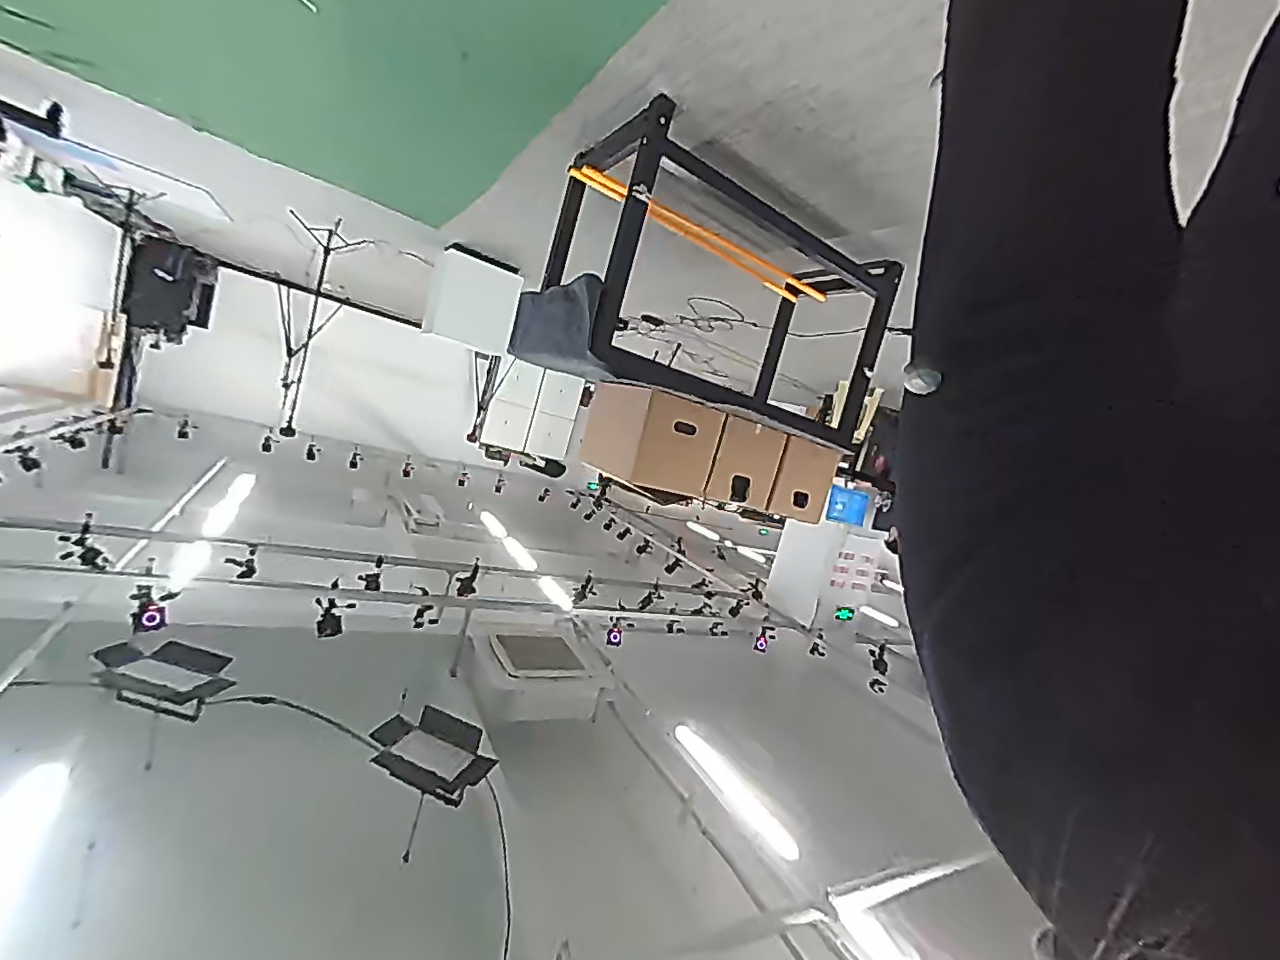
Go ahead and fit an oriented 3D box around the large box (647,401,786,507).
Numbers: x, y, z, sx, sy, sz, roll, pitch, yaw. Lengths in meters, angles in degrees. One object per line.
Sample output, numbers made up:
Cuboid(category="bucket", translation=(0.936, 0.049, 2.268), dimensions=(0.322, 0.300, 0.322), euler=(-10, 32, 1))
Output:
Cuboid(category="large box", translation=(0.286, -0.110, 2.102), dimensions=(0.320, 0.320, 0.408), euler=(12, -175, -31))
